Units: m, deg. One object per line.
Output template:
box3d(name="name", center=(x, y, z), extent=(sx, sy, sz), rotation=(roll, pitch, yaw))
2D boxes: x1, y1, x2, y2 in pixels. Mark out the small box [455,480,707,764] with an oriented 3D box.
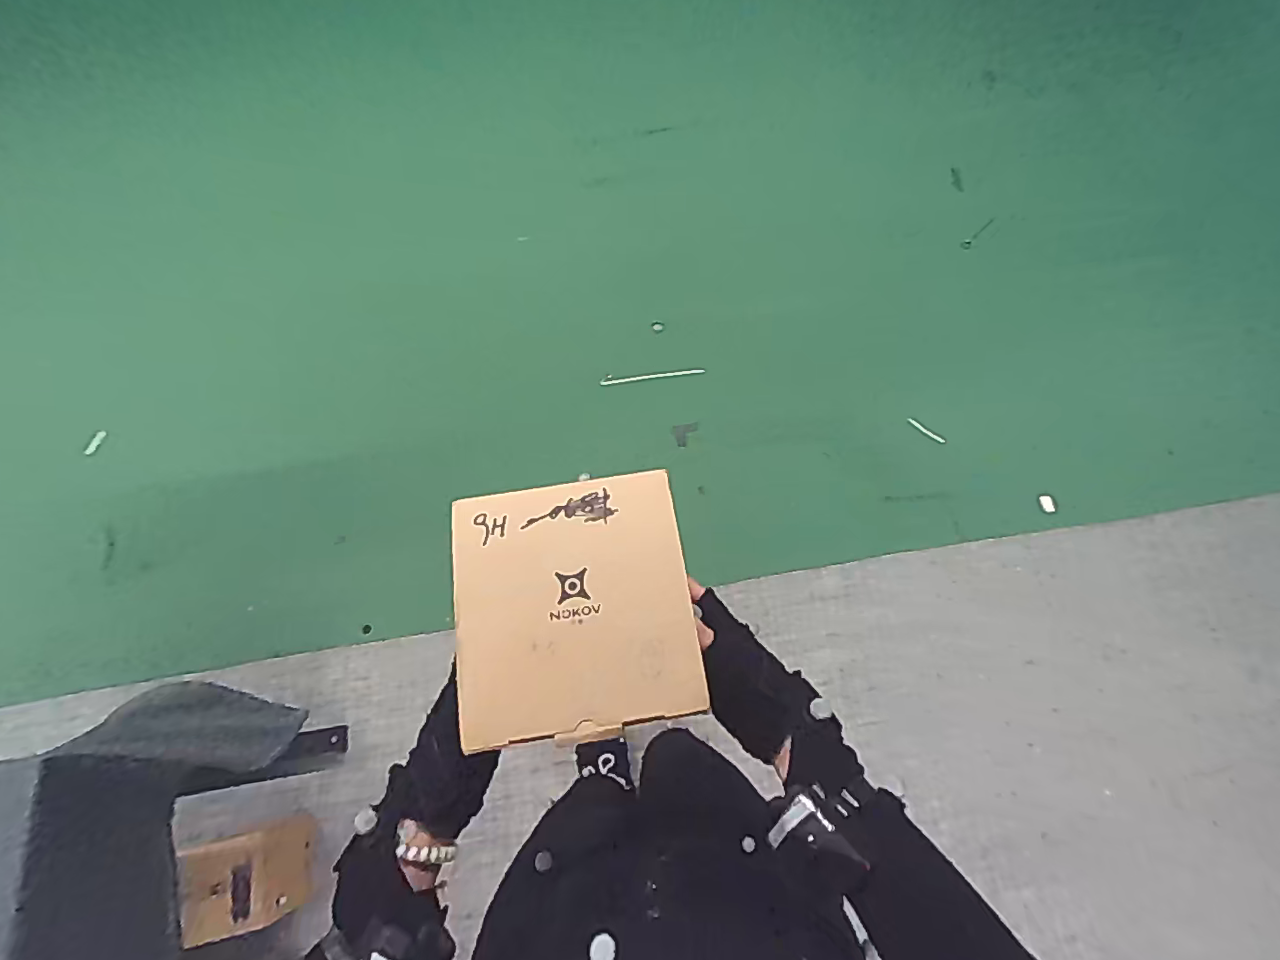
box3d(name="small box", center=(-0.044, 0.116, 0.451), extent=(0.168, 0.176, 0.179), rotation=(-8, 71, -2))
